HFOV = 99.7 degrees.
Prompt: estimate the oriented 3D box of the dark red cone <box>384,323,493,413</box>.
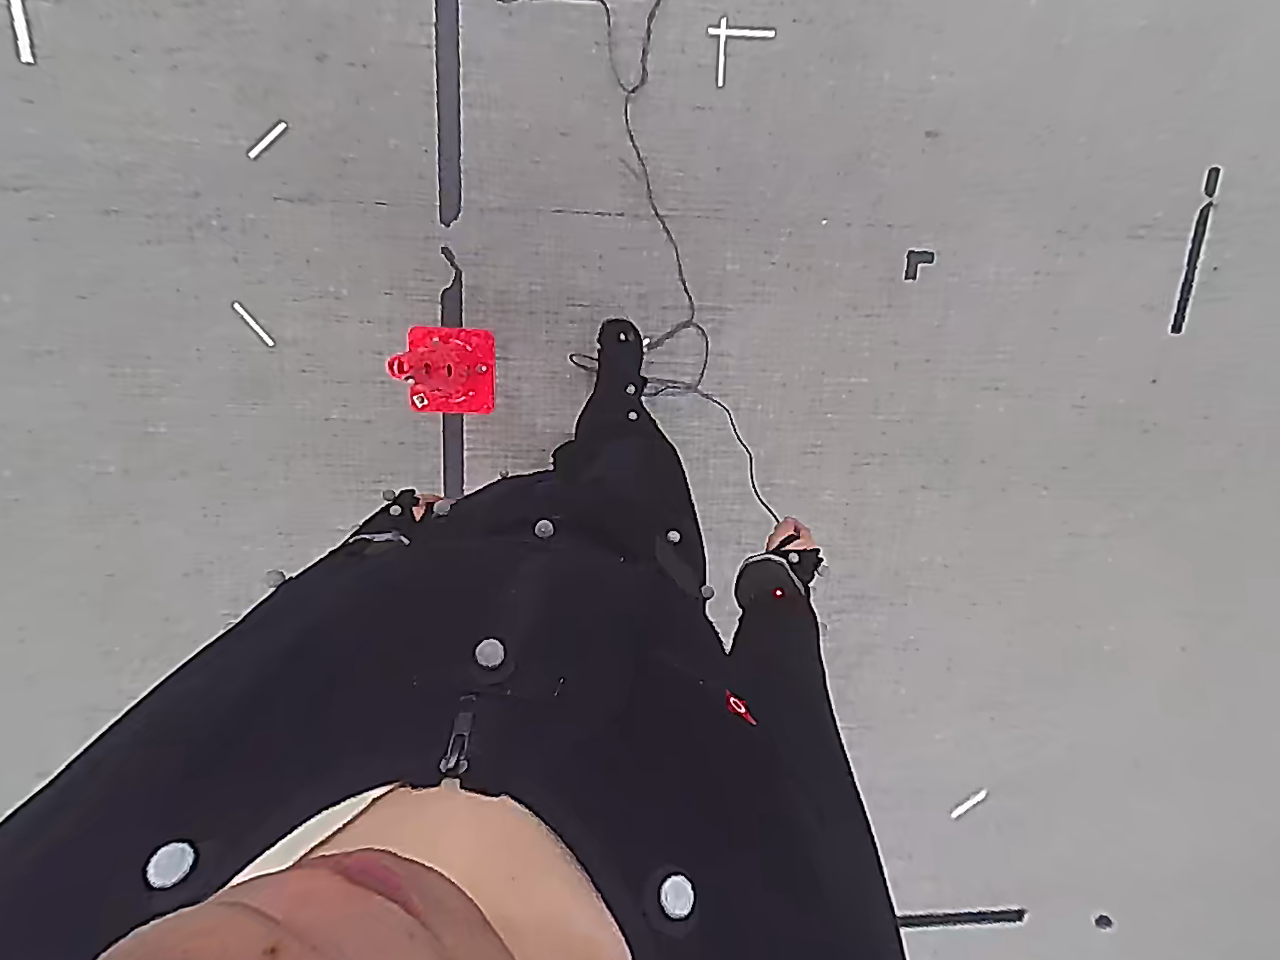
[{"bbox_3d":[-0.428,-0.231,1.092,0.201,0.394,0.202,1,100,-6],"label":"dark red cone"}]
